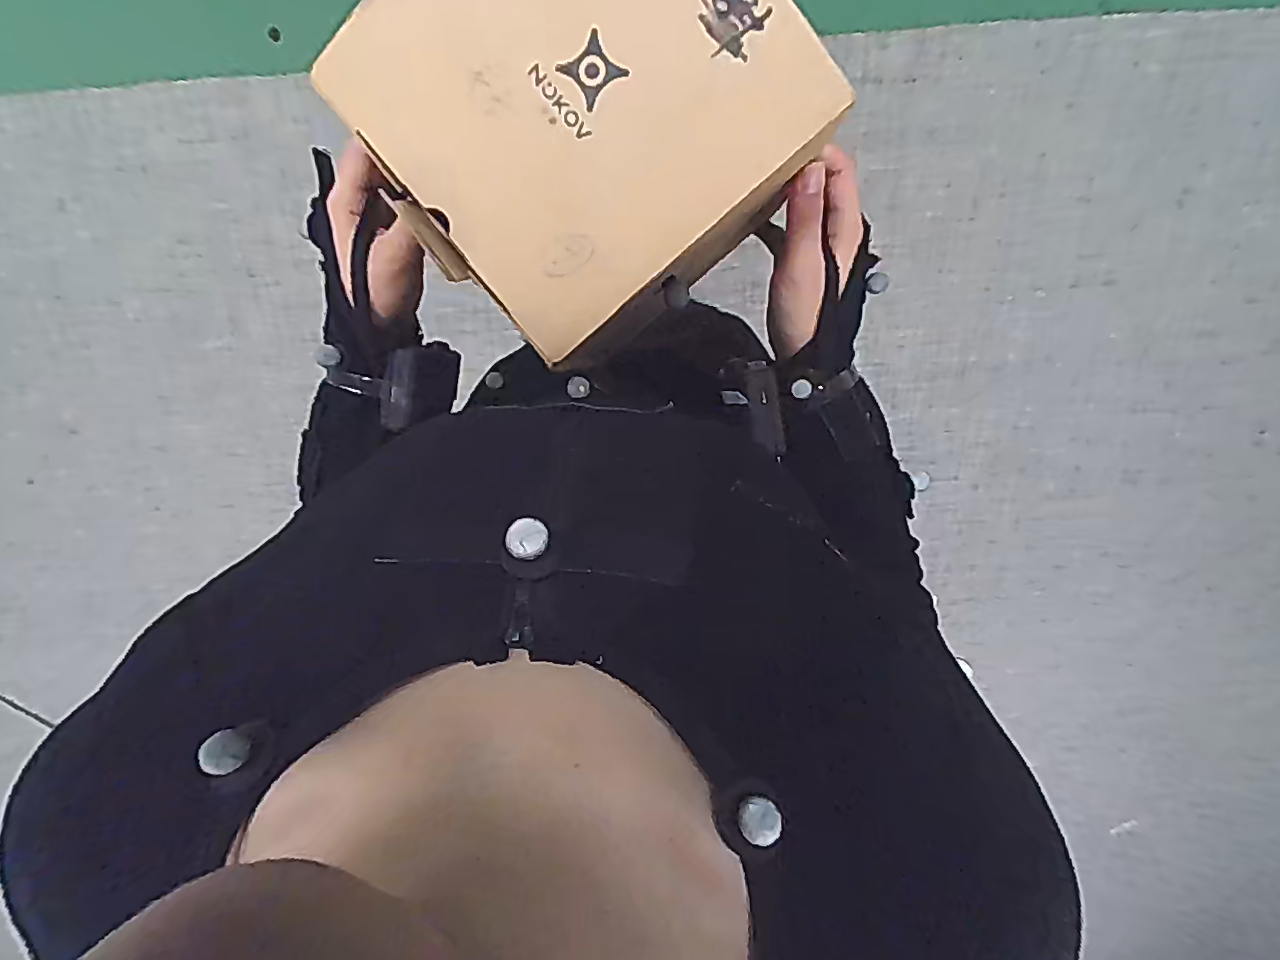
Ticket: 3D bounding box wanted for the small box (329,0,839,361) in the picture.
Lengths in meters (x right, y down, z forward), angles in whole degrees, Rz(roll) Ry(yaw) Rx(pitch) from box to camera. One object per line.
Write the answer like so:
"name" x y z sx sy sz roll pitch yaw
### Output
"small box" -0.022 -0.187 0.318 0.179 0.176 0.168 -39 98 11
